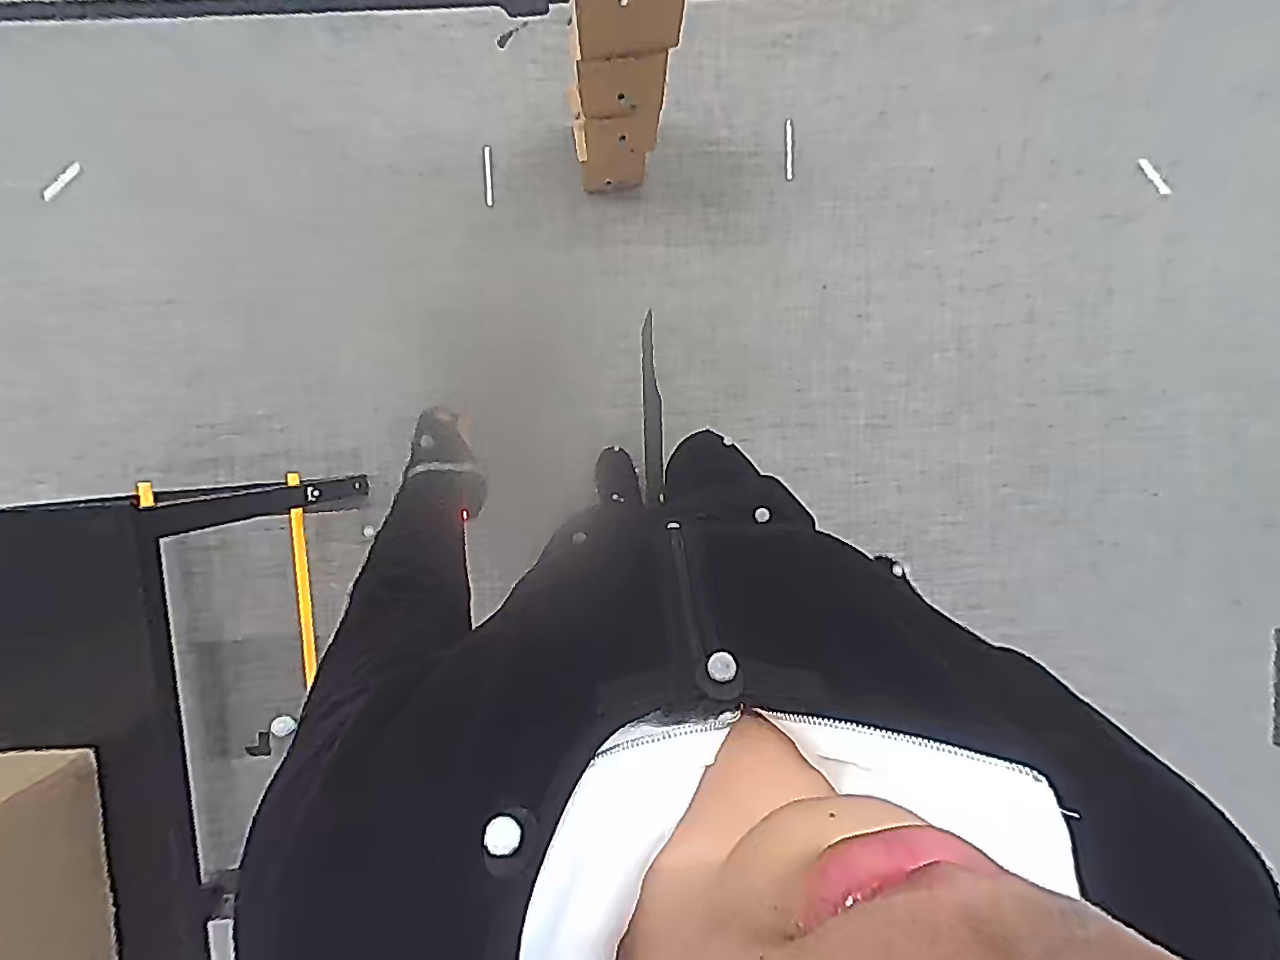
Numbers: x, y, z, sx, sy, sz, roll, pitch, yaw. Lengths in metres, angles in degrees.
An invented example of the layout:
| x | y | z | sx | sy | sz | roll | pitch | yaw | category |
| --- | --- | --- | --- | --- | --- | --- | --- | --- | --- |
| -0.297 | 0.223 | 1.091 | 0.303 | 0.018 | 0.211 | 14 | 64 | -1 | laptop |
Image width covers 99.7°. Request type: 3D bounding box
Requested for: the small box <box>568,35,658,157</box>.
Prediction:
| x | y | z | sx | sy | sz | roll | pitch | yaw | category |
| --- | --- | --- | --- | --- | --- | --- | --- | --- | --- |
| -0.055 | -0.836 | 1.183 | 0.168 | 0.176 | 0.179 | -10 | 95 | -1 | small box |

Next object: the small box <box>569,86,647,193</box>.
| x | y | z | sx | sy | sz | roll | pitch | yaw | category |
| --- | --- | --- | --- | --- | --- | --- | --- | --- | --- |
| -0.078 | -0.848 | 1.345 | 0.168 | 0.176 | 0.179 | -9 | 96 | 0 | small box |

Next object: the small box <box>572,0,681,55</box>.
| x | y | z | sx | sy | sz | roll | pitch | yaw | category |
| --- | --- | --- | --- | --- | --- | --- | --- | --- | --- |
| -0.028 | -0.817 | 0.854 | 0.179 | 0.176 | 0.168 | -9 | 94 | -2 | small box |

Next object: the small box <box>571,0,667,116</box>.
| x | y | z | sx | sy | sz | roll | pitch | yaw | category |
| --- | --- | --- | --- | --- | --- | --- | --- | --- | --- |
| -0.042 | -0.828 | 1.018 | 0.168 | 0.176 | 0.179 | -5 | 95 | -1 | small box |
